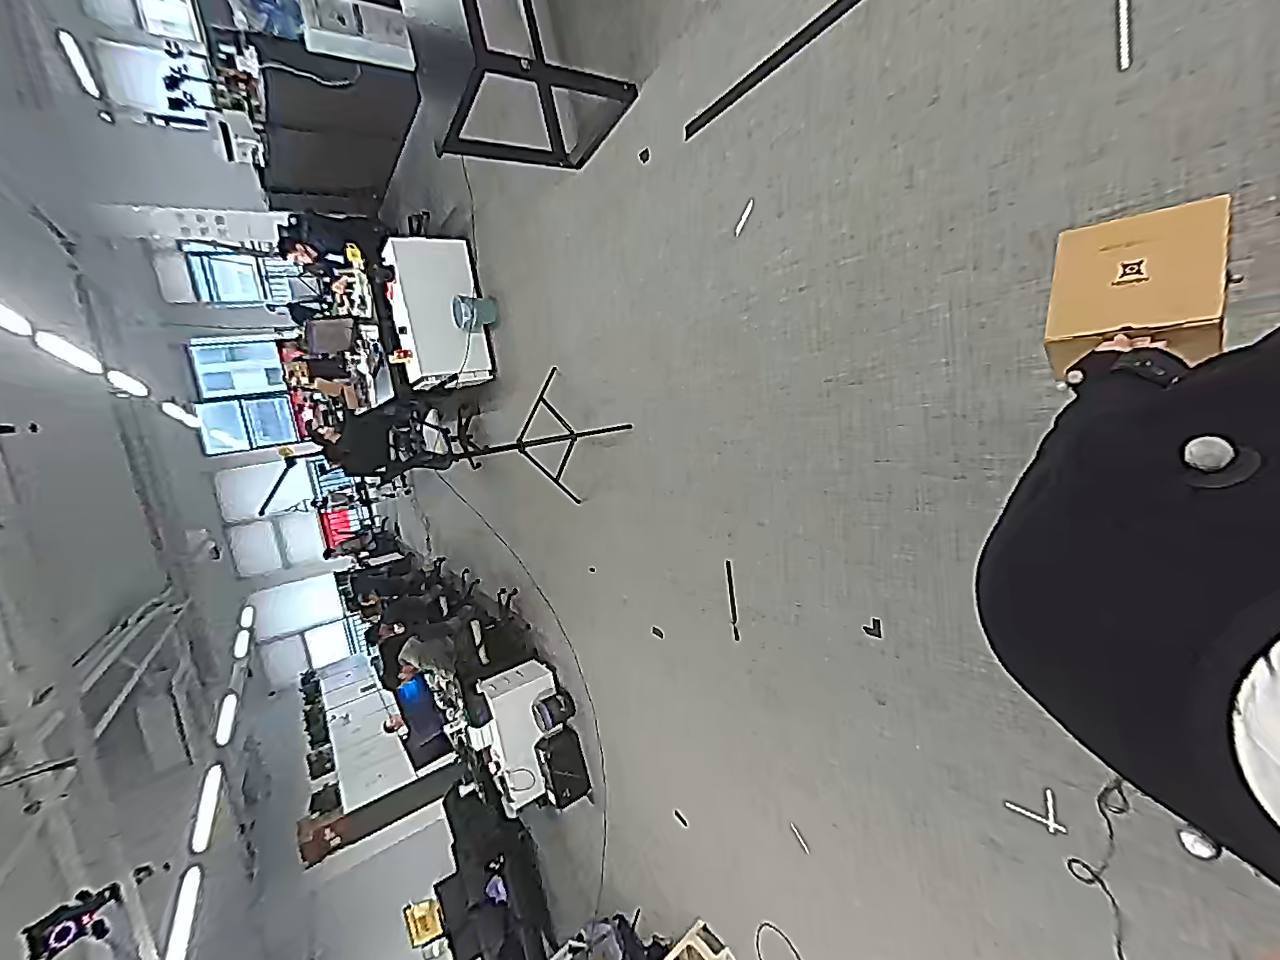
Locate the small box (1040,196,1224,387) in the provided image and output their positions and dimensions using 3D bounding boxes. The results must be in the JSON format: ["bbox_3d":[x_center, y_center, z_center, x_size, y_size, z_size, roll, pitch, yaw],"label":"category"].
[{"bbox_3d":[0.674,-0.238,0.742,0.168,0.176,0.179,4,72,46],"label":"small box"}]
